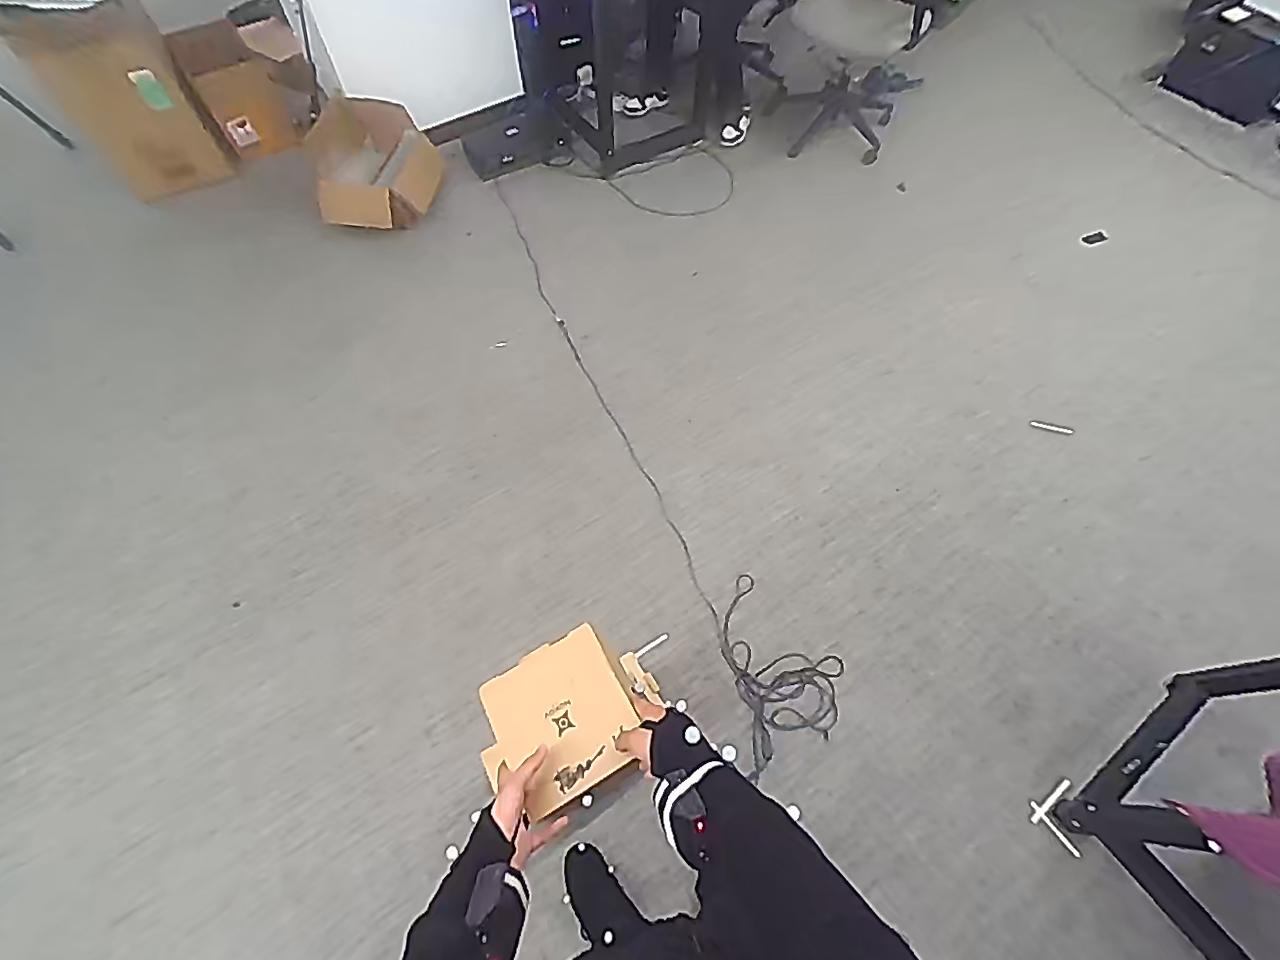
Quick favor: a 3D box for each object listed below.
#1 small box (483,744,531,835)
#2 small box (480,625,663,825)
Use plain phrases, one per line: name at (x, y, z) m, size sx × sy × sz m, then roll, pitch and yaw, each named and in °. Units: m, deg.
small box at (-0.206, 0.616, 1.152) m, size 0.179 × 0.176 × 0.168 m, roll -27°, pitch 65°, yaw -12°
small box at (-0.085, 0.329, 0.729) m, size 0.168 × 0.176 × 0.179 m, roll -30°, pitch 61°, yaw -6°
